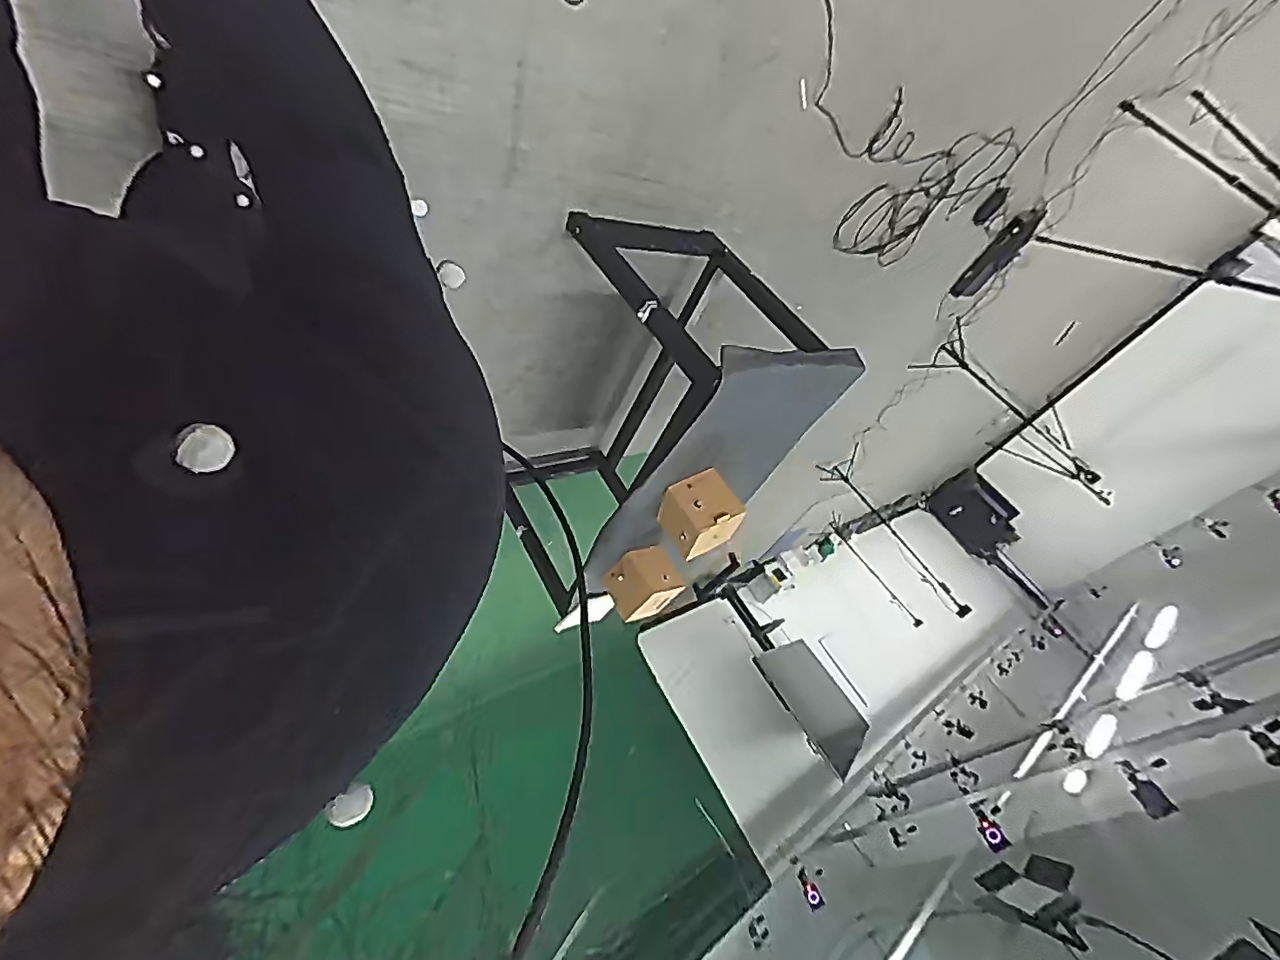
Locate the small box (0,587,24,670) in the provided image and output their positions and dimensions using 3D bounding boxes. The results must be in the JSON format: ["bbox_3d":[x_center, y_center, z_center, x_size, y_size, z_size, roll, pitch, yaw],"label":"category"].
[{"bbox_3d":[-1.763,0.399,1.431,0.168,0.176,0.179,-2,140,-46],"label":"small box"}]

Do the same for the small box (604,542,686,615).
[{"bbox_3d":[0.014,0.319,1.793,0.179,0.176,0.168,0,138,-50],"label":"small box"}]

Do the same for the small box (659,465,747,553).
[{"bbox_3d":[0.173,0.075,1.561,0.168,0.176,0.179,-22,153,-23],"label":"small box"}]
